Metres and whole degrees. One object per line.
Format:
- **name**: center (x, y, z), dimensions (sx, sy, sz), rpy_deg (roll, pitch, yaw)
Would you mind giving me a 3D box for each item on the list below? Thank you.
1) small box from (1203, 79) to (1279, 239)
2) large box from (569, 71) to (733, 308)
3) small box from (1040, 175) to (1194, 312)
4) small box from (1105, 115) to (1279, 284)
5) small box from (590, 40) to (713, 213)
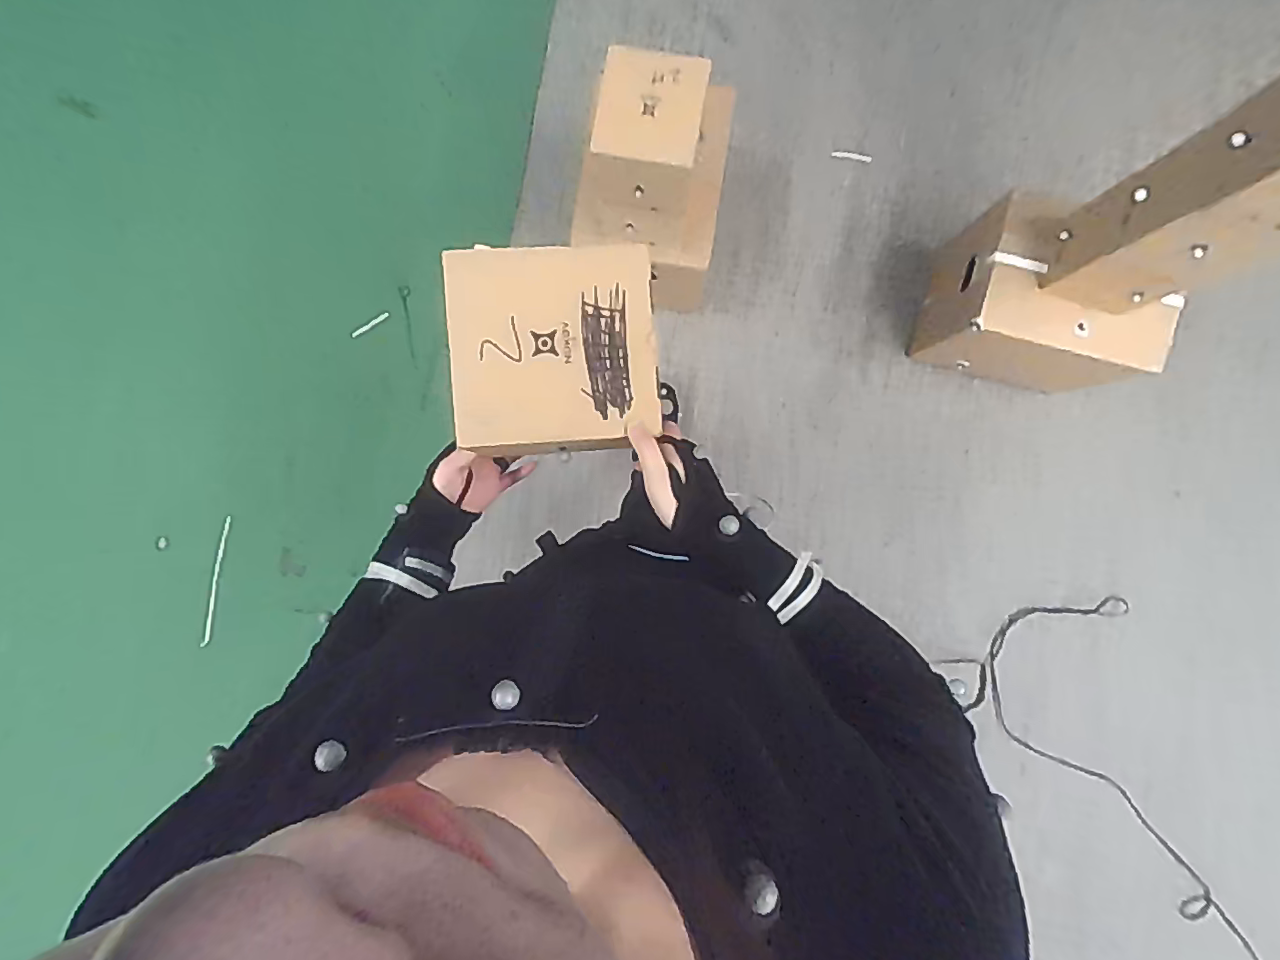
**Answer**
- **small box**: center (0.939, -0.454, 0.731), dimensions (0.168, 0.176, 0.179), rpy_deg (20, 90, 1)
- **large box**: center (0.030, -0.681, 1.330), dimensions (0.320, 0.320, 0.408), rpy_deg (10, 90, 2)
- **small box**: center (0.946, -0.450, 1.059), dimensions (0.179, 0.176, 0.168), rpy_deg (19, 89, 2)
- **small box**: center (0.944, -0.448, 0.895), dimensions (0.179, 0.176, 0.168), rpy_deg (21, 89, 2)
- **small box**: center (0.021, -0.587, 0.922), dimensions (0.168, 0.176, 0.179), rpy_deg (12, 90, 1)
